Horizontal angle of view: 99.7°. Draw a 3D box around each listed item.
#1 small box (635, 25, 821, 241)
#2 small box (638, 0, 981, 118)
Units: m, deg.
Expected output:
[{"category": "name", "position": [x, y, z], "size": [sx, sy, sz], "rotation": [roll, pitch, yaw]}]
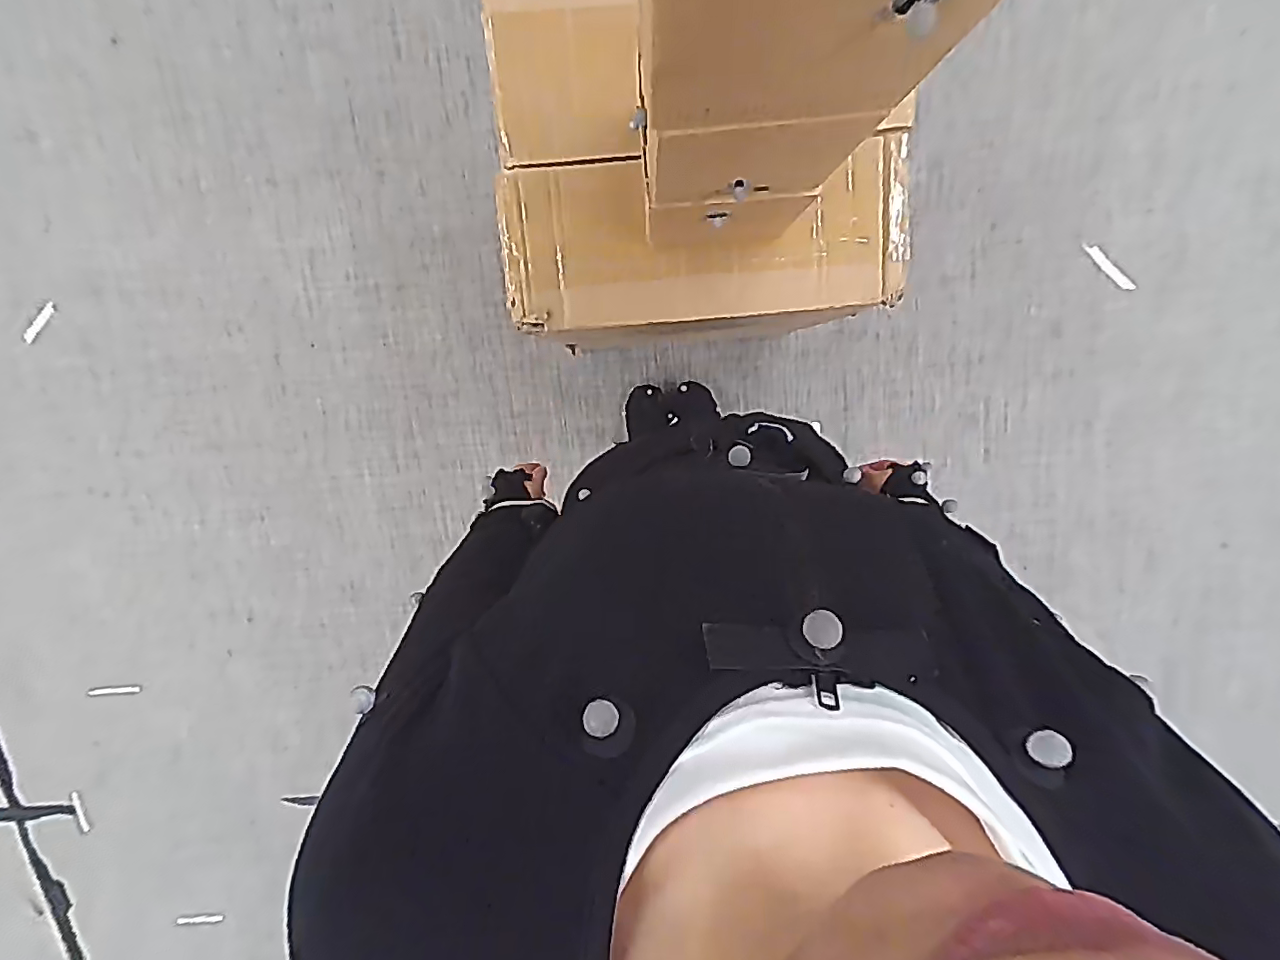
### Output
[{"category": "small box", "position": [0.090, -0.375, 0.602], "size": [0.179, 0.176, 0.168], "rotation": [-4, 101, 2]}, {"category": "small box", "position": [0.085, -0.317, 0.278], "size": [0.179, 0.176, 0.168], "rotation": [-4, 101, 2]}]
